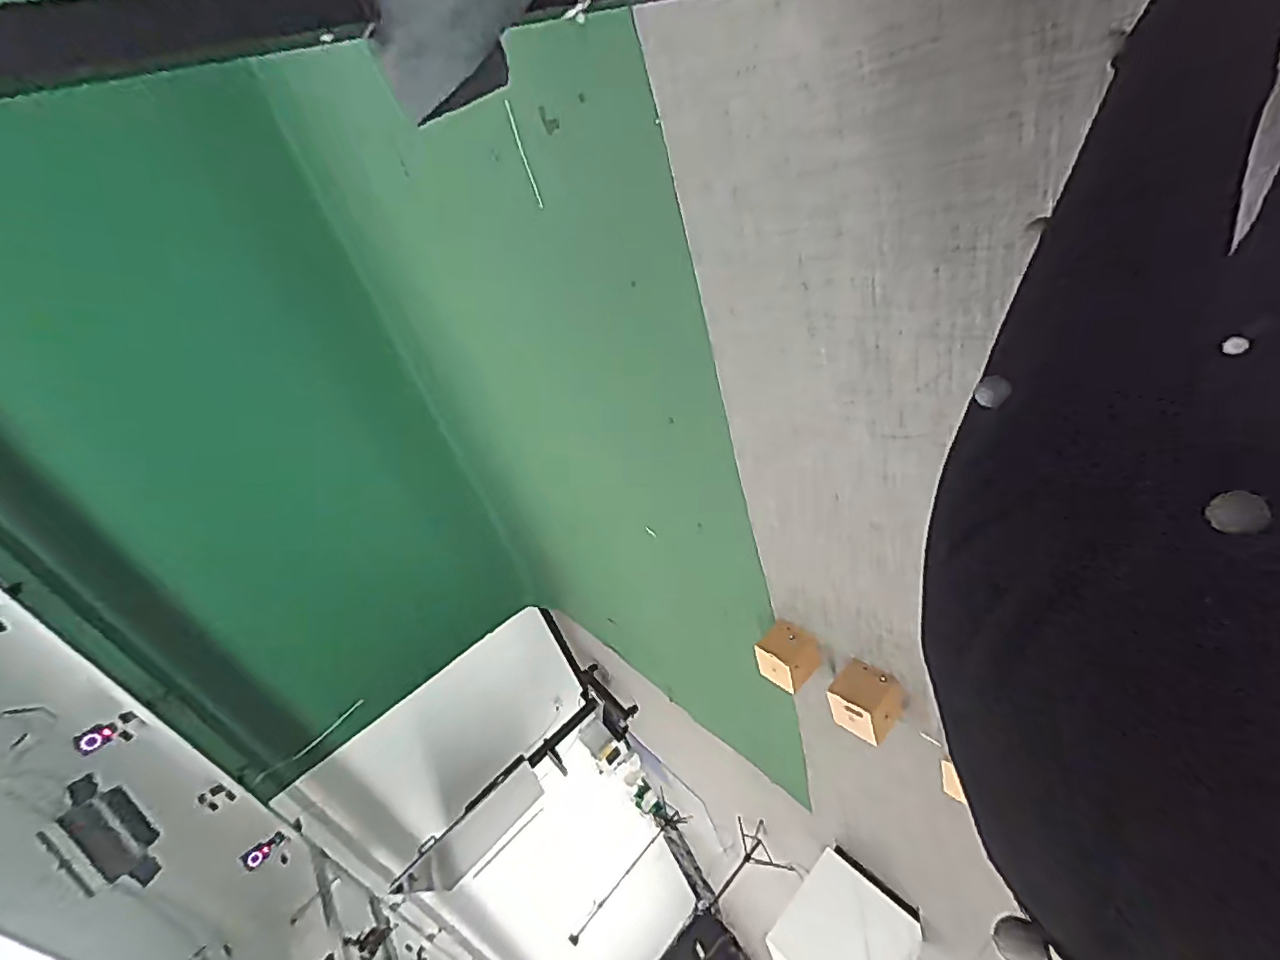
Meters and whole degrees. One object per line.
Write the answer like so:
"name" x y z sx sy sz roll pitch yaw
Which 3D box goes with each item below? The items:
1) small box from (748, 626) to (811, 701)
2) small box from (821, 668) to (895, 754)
"small box" 0.543 0.705 2.087 0.168 0.176 0.179 21 136 46
"small box" 0.747 0.780 1.847 0.168 0.176 0.179 16 134 51
